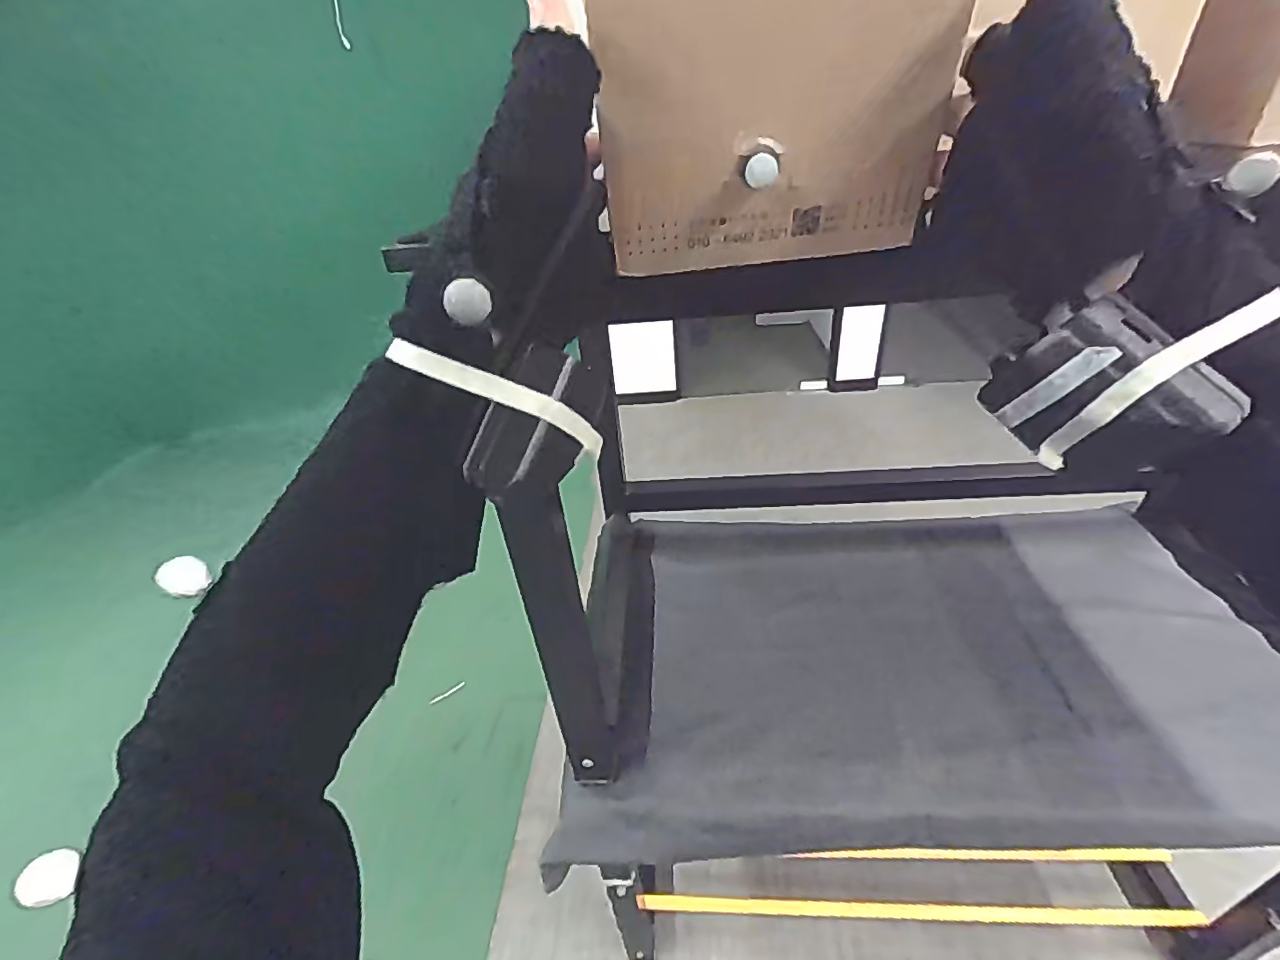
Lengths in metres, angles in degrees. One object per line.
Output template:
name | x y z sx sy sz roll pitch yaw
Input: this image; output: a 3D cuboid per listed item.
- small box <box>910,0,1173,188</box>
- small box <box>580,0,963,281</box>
small box | 0.293 -0.347 0.451 0.168 0.176 0.179 -2 33 6
small box | 0.055 -0.236 0.311 0.168 0.176 0.179 -6 47 2
